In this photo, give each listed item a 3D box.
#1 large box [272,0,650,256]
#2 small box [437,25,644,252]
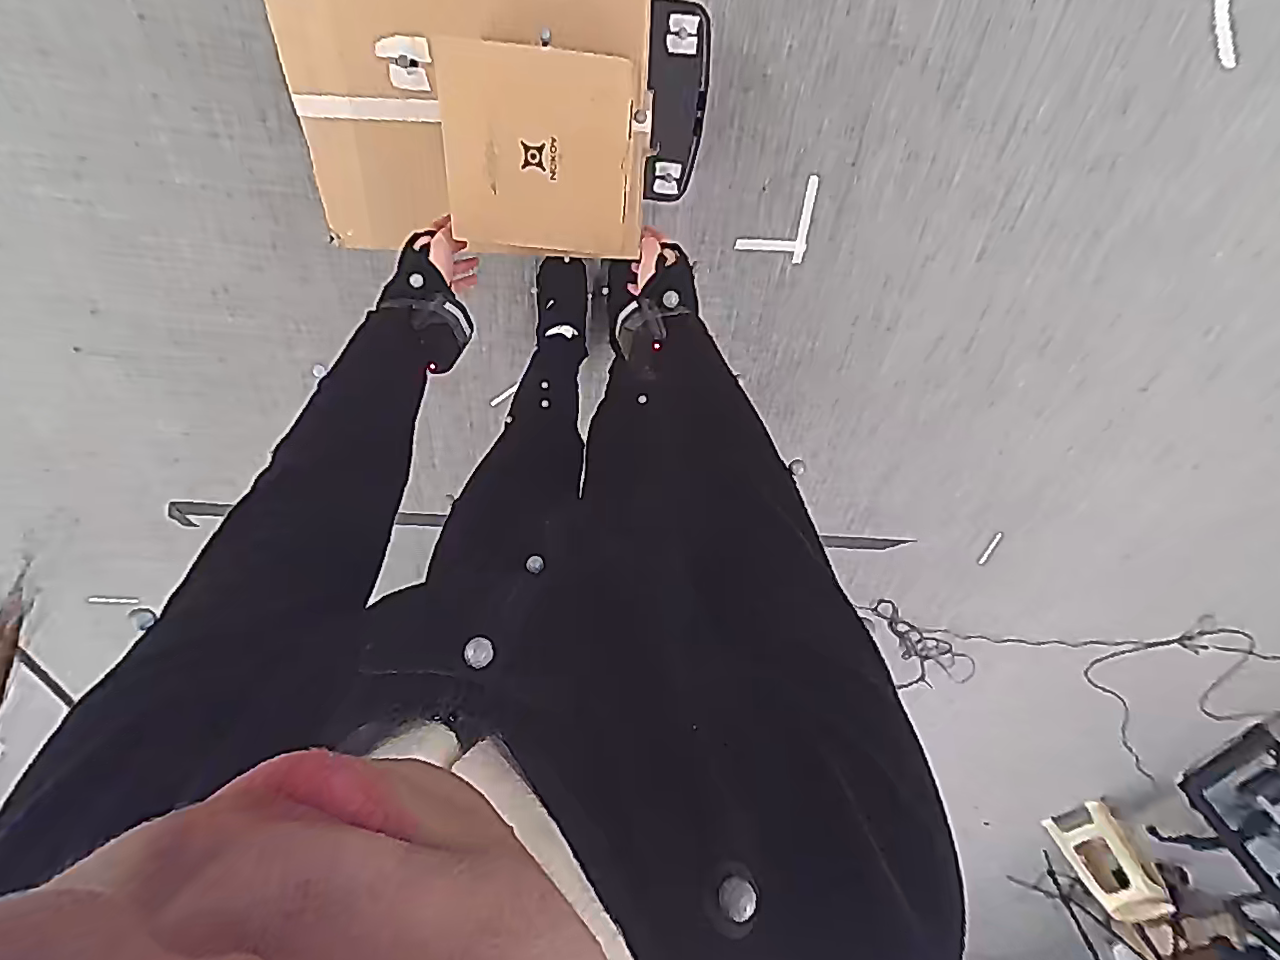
[{"bbox_3d":[-0.193,-0.515,0.744,0.408,0.320,0.320,1,126,-2],"label":"large box"},{"bbox_3d":[-0.094,-0.354,0.563,0.179,0.176,0.168,4,127,-5],"label":"small box"}]
